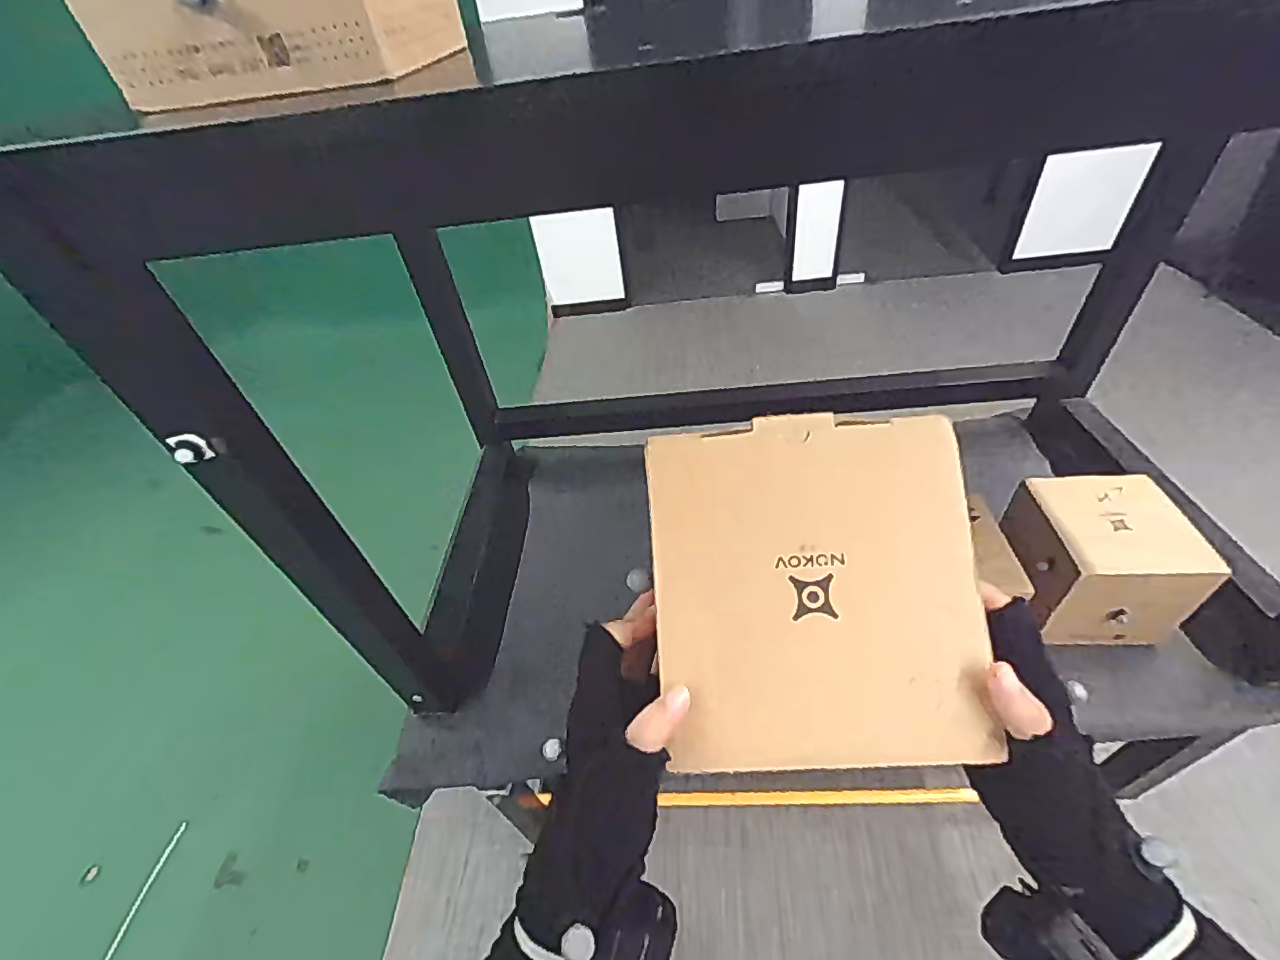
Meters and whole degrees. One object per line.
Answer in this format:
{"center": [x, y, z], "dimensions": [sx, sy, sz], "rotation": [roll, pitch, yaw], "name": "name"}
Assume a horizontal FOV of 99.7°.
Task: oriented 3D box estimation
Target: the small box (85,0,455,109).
{"center": [-0.231, -0.344, 0.329], "dimensions": [0.168, 0.176, 0.179], "rotation": [-3, 45, 6], "name": "small box"}

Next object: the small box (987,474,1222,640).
{"center": [0.634, 0.112, 0.770], "dimensions": [0.168, 0.176, 0.179], "rotation": [-1, 43, 8], "name": "small box"}
